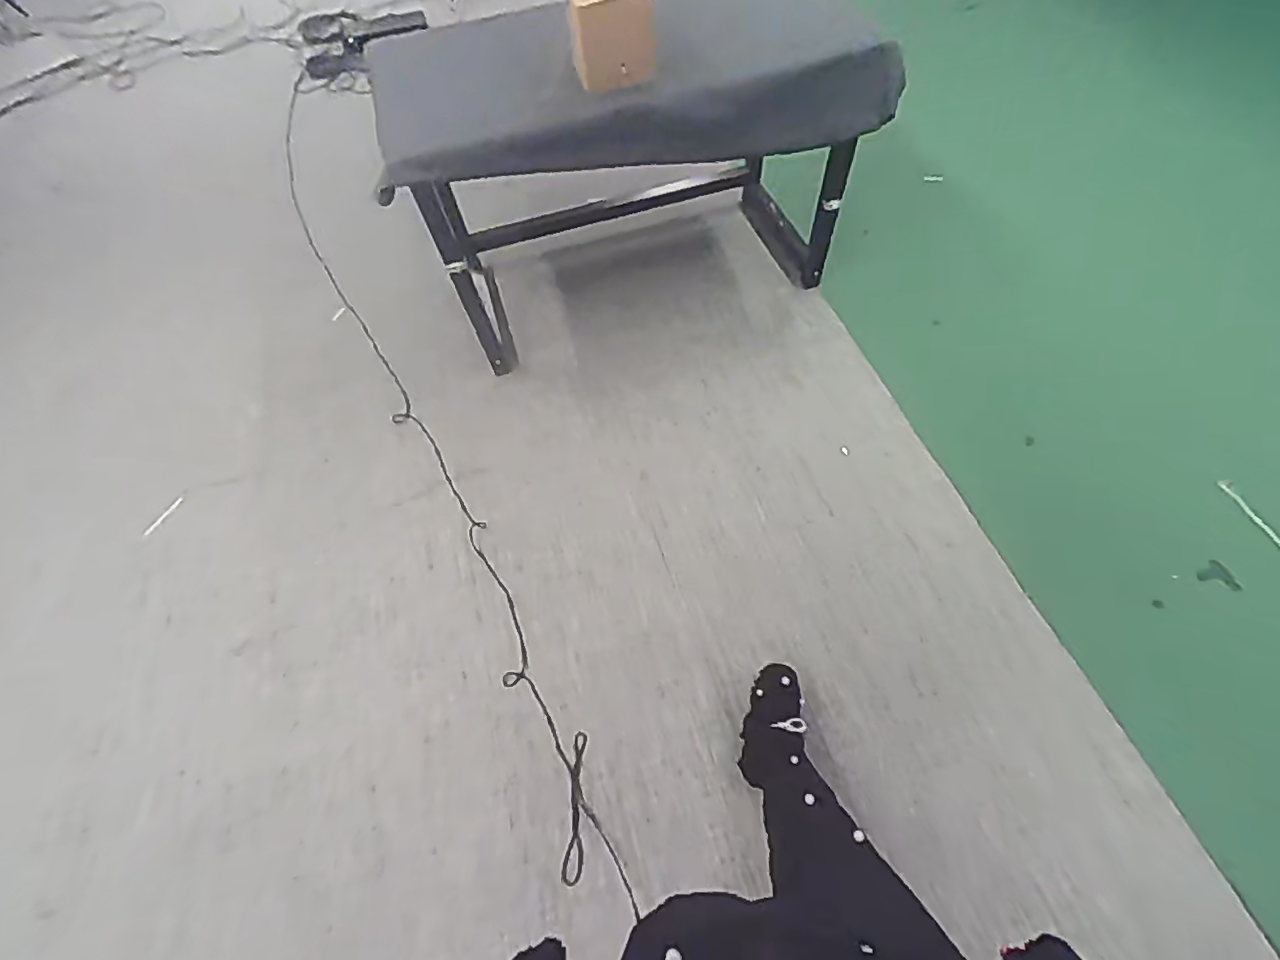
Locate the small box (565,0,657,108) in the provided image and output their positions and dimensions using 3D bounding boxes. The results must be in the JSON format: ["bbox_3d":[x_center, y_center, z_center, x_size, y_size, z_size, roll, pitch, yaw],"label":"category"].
[{"bbox_3d":[-0.063,-0.996,1.244,0.179,0.176,0.168,-15,59,-5],"label":"small box"}]
